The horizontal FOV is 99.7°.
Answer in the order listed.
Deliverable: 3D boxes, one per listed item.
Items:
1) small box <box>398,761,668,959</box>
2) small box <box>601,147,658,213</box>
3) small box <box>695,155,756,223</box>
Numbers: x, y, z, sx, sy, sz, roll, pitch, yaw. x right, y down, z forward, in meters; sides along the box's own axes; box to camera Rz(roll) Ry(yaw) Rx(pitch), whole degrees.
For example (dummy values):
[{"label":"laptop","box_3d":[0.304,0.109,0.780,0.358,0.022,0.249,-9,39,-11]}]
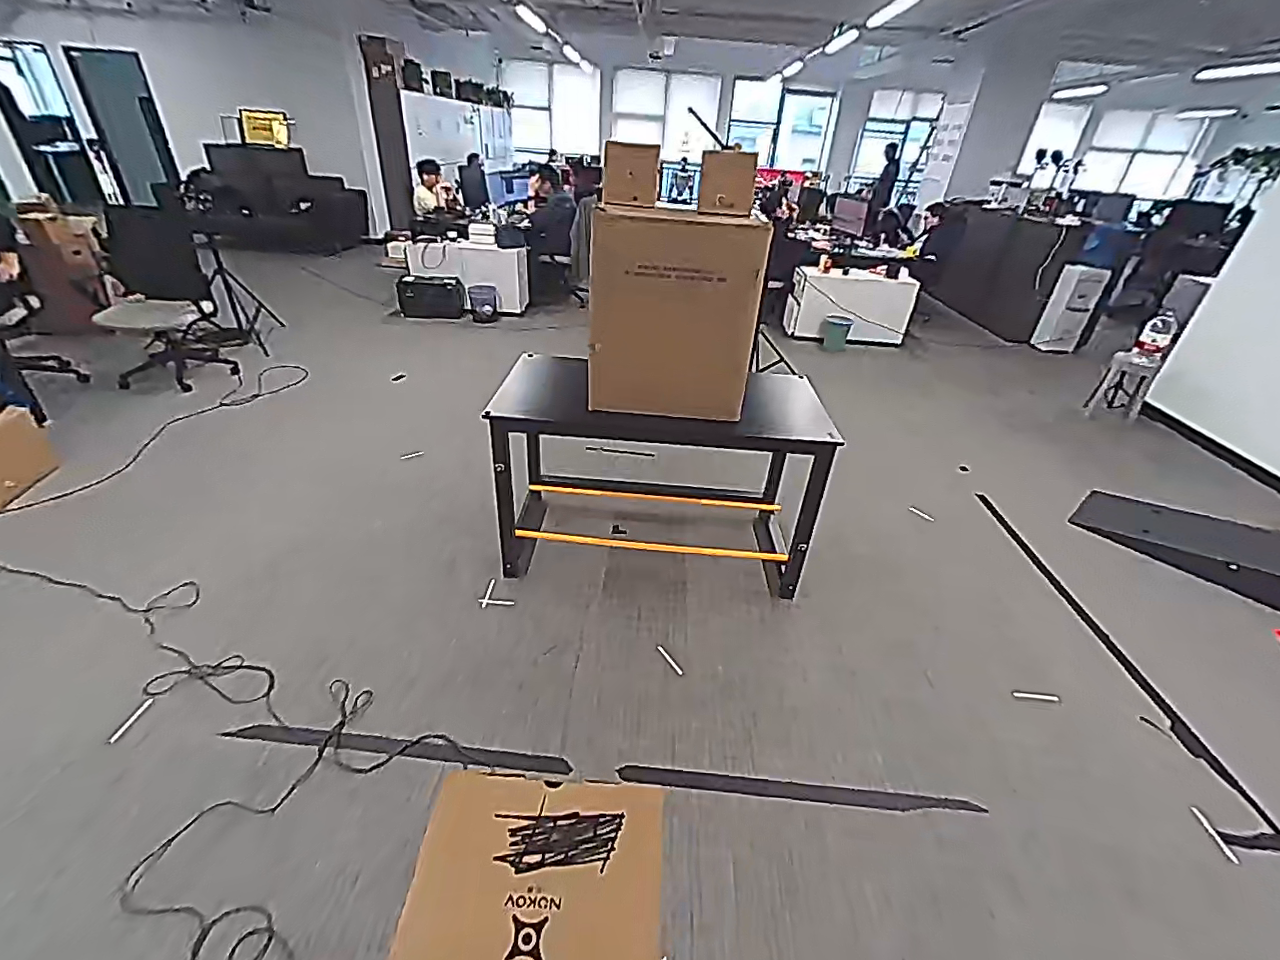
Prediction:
[{"label":"small box","box_3d":[-0.069,0.339,0.399,0.168,0.176,0.179,4,38,-1]},{"label":"small box","box_3d":[-0.032,-0.952,1.716,0.168,0.176,0.179,6,32,0]},{"label":"small box","box_3d":[0.259,-0.906,1.680,0.168,0.176,0.179,4,31,3]}]
